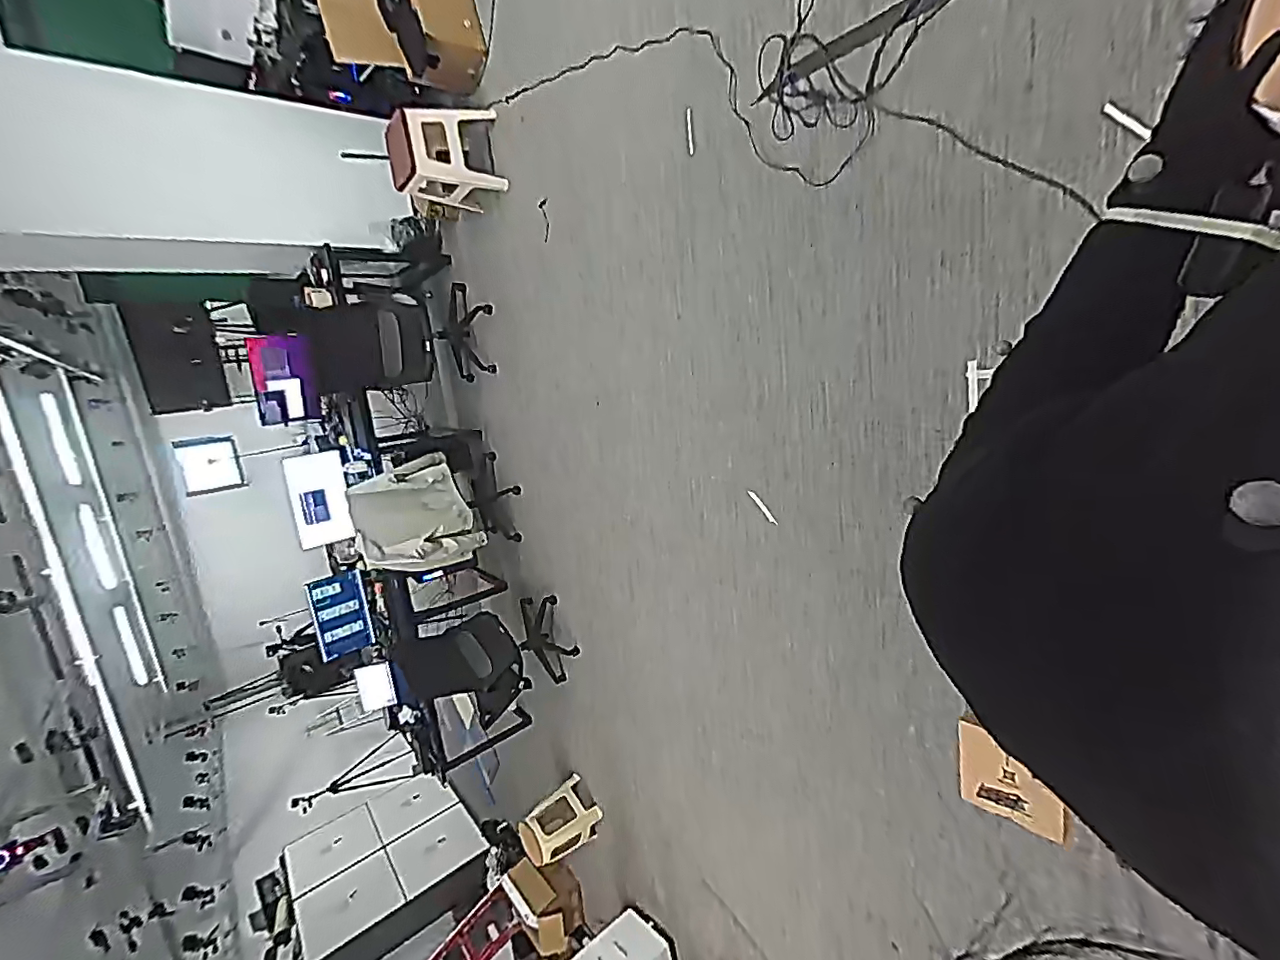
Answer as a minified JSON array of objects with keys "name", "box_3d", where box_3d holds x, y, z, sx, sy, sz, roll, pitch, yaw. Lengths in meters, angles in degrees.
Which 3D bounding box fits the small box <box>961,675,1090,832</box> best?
[{"name":"small box","box_3d":[0.739,0.510,1.036,0.168,0.176,0.179,4,105,51]}]
